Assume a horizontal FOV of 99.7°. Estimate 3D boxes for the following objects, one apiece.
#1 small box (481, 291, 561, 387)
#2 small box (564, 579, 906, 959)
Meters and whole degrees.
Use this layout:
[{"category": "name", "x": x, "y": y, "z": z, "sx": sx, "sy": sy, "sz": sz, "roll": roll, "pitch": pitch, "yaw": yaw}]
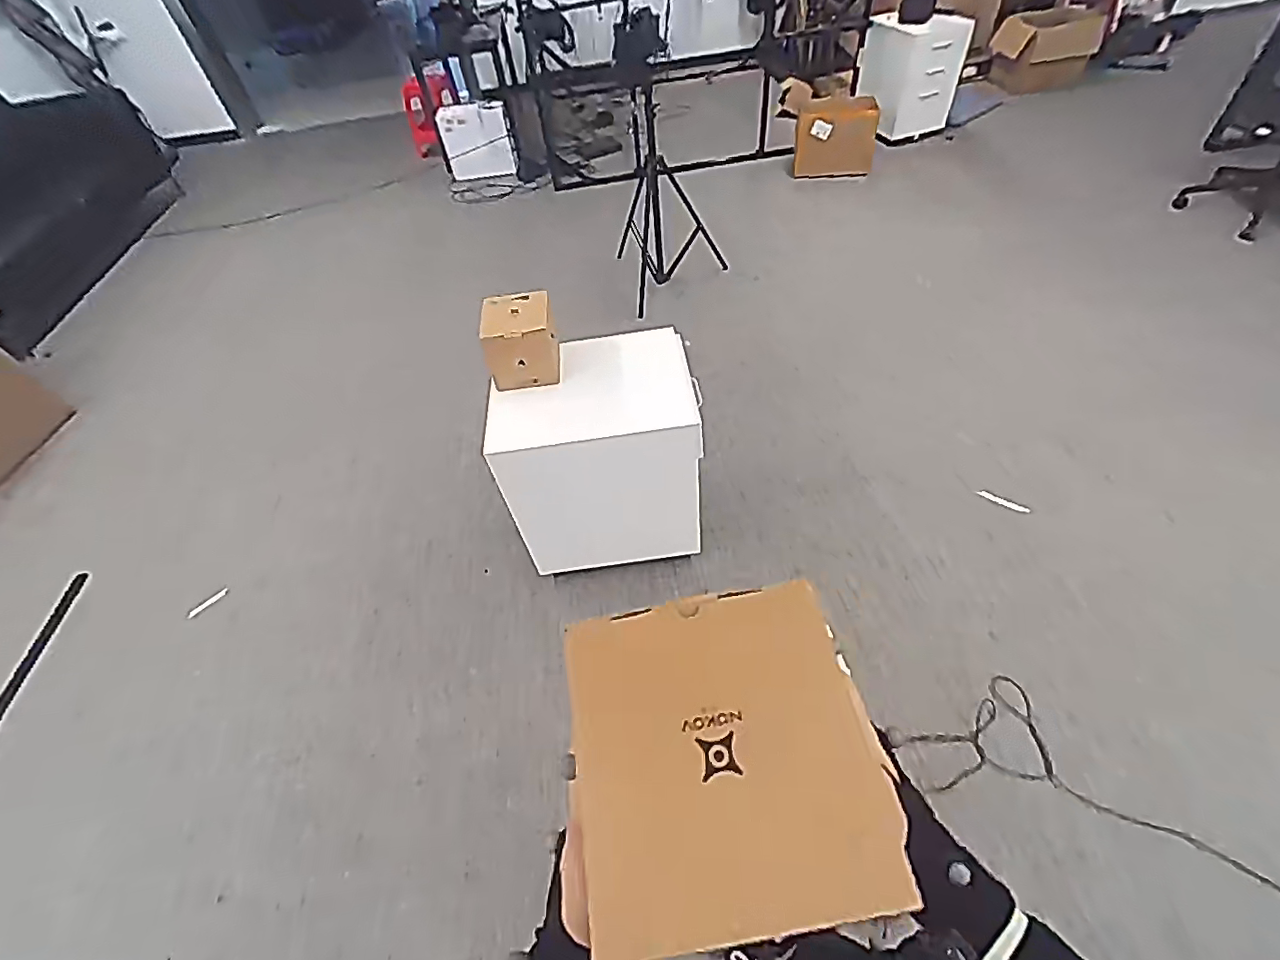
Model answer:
[{"category": "small box", "x": -0.299, "y": -0.356, "z": 1.394, "sx": 0.168, "sy": 0.176, "sz": 0.179, "roll": -7, "pitch": 51, "yaw": -1}, {"category": "small box", "x": 0.051, "y": 0.194, "z": 0.382, "sx": 0.168, "sy": 0.176, "sz": 0.179, "roll": -12, "pitch": 57, "yaw": 0}]
